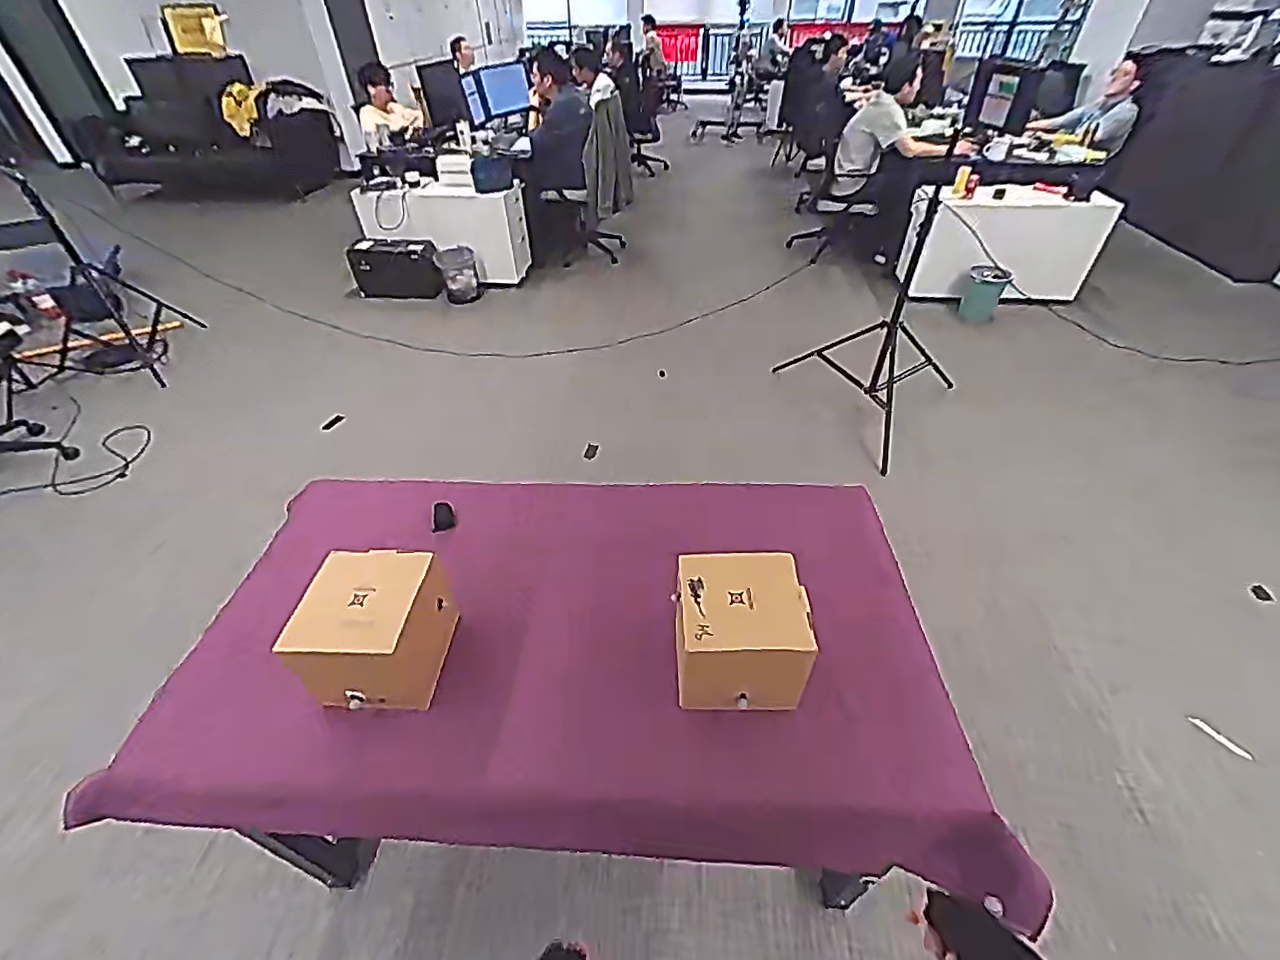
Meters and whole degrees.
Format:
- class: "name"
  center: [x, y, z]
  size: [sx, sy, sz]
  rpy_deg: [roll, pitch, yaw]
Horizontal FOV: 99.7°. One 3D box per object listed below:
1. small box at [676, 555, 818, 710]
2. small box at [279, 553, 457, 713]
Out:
- class: "small box"
  center: [0.148, 0.230, 0.815]
  size: [0.179, 0.176, 0.168]
  rpy_deg: [0, 41, 1]
- class: "small box"
  center: [-0.395, 0.231, 0.827]
  size: [0.168, 0.176, 0.179]
  rpy_deg: [0, 42, 2]
